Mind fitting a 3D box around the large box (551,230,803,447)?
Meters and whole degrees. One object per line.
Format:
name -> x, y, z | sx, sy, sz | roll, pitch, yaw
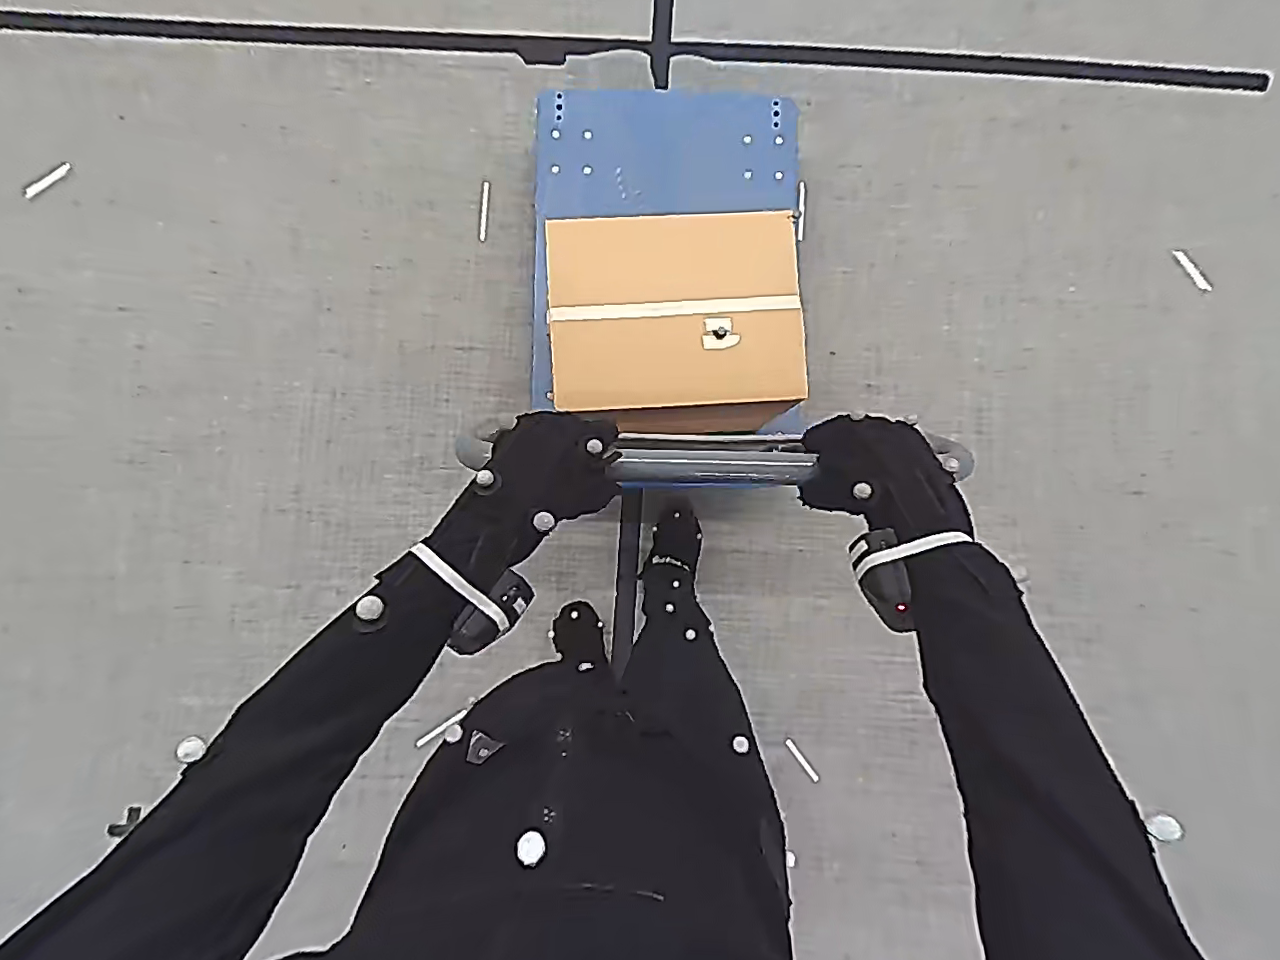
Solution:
large box -> 0.053, -0.245, 1.035 | 0.408, 0.320, 0.320 | -3, 87, -3
